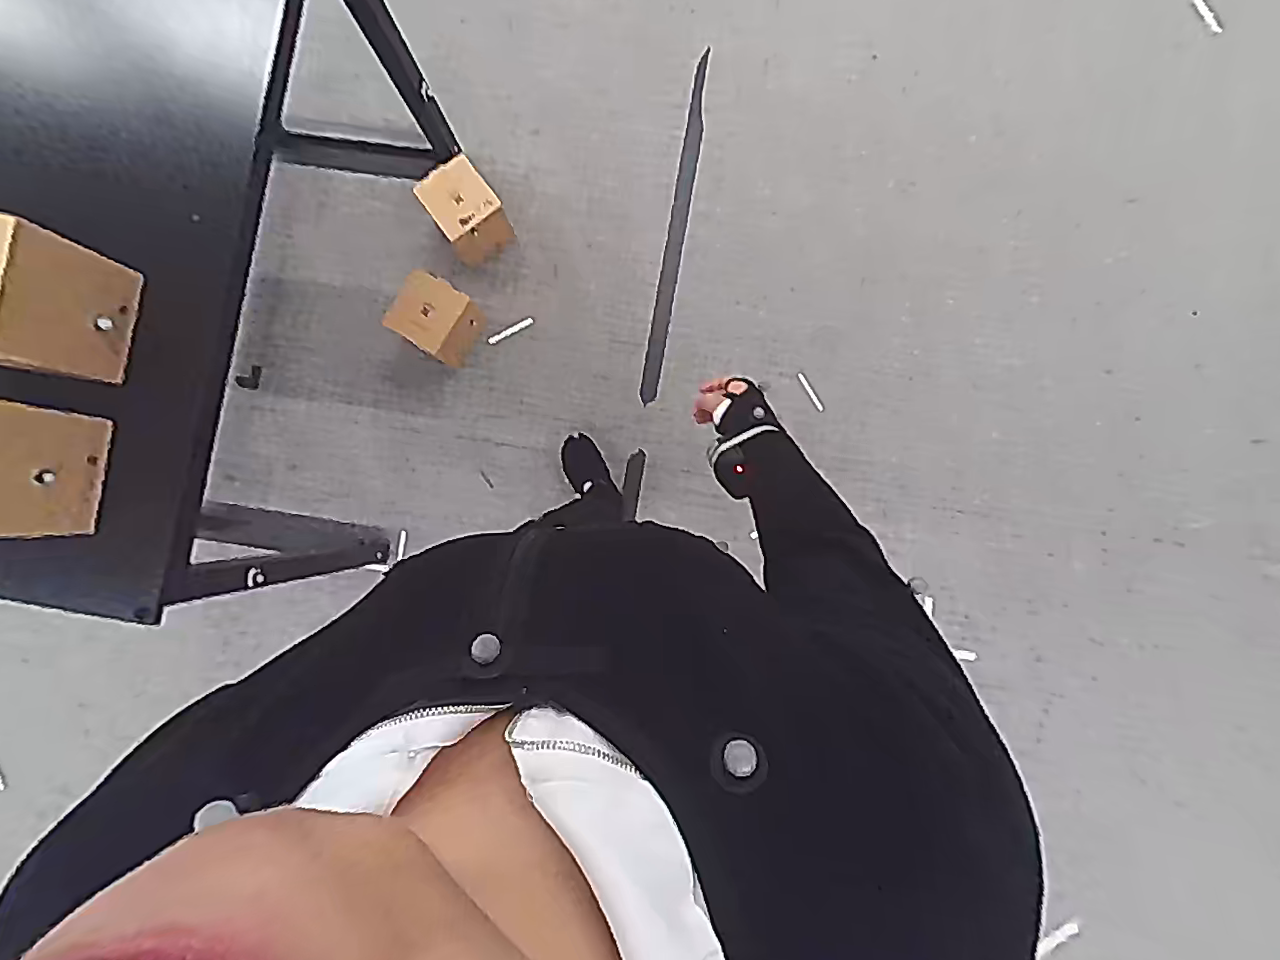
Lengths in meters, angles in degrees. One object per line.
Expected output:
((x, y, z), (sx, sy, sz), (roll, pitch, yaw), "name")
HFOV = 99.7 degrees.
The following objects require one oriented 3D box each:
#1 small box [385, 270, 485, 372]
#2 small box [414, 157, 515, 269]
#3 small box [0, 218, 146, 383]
((-0.539, -0.420, 1.455), (0.168, 0.176, 0.179), (30, 89, 3), "small box")
((-0.468, -0.714, 1.467), (0.168, 0.176, 0.179), (-37, 87, -1), "small box")
((-0.827, -0.235, 0.716), (0.179, 0.176, 0.168), (9, 87, 1), "small box")
